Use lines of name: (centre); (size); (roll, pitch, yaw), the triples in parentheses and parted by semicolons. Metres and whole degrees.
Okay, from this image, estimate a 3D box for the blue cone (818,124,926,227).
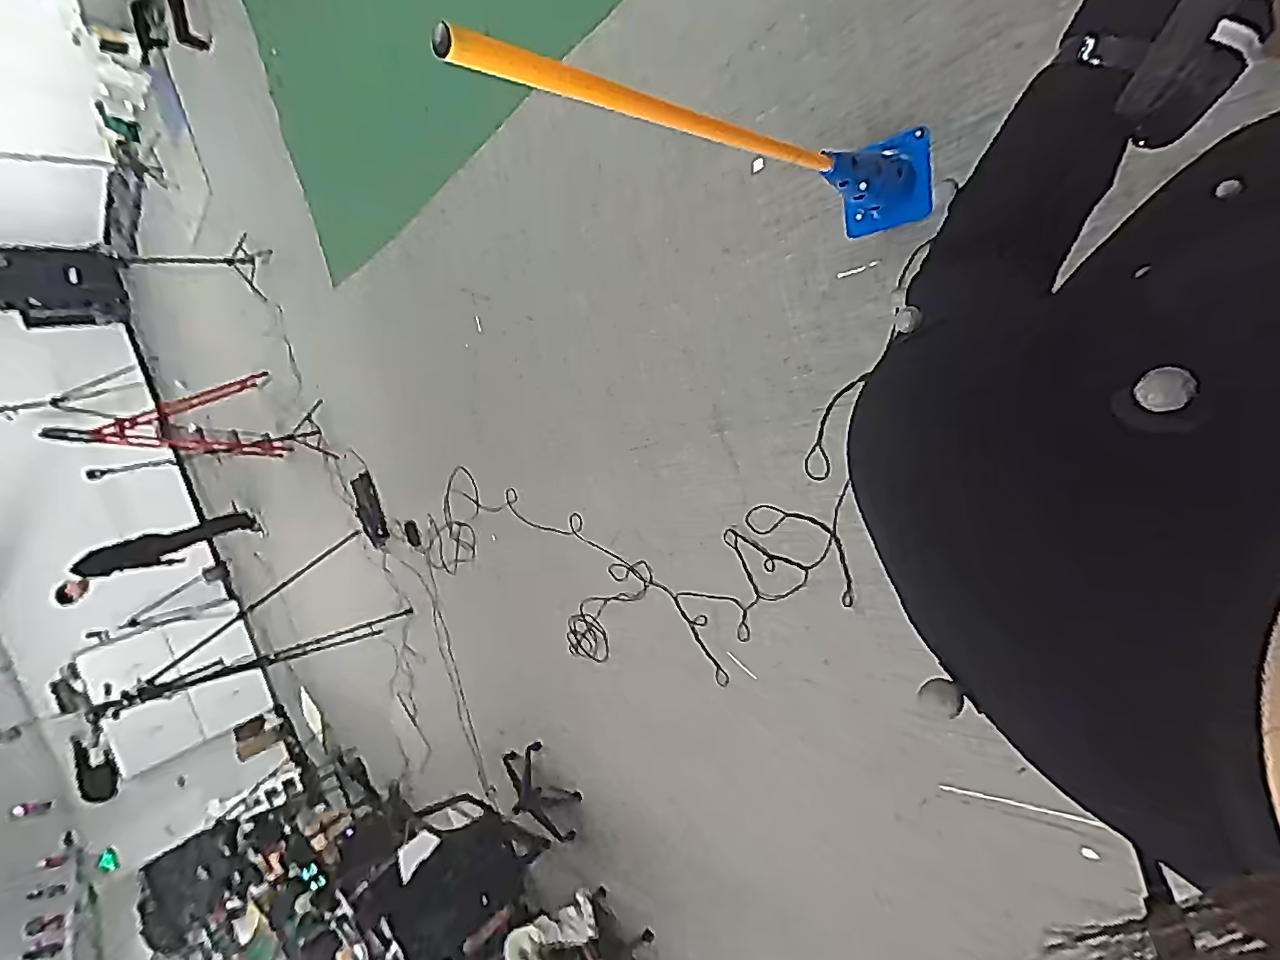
blue cone: (0.483, -0.685, 1.188); (0.193, 0.380, 0.192); (3, 107, 41)
